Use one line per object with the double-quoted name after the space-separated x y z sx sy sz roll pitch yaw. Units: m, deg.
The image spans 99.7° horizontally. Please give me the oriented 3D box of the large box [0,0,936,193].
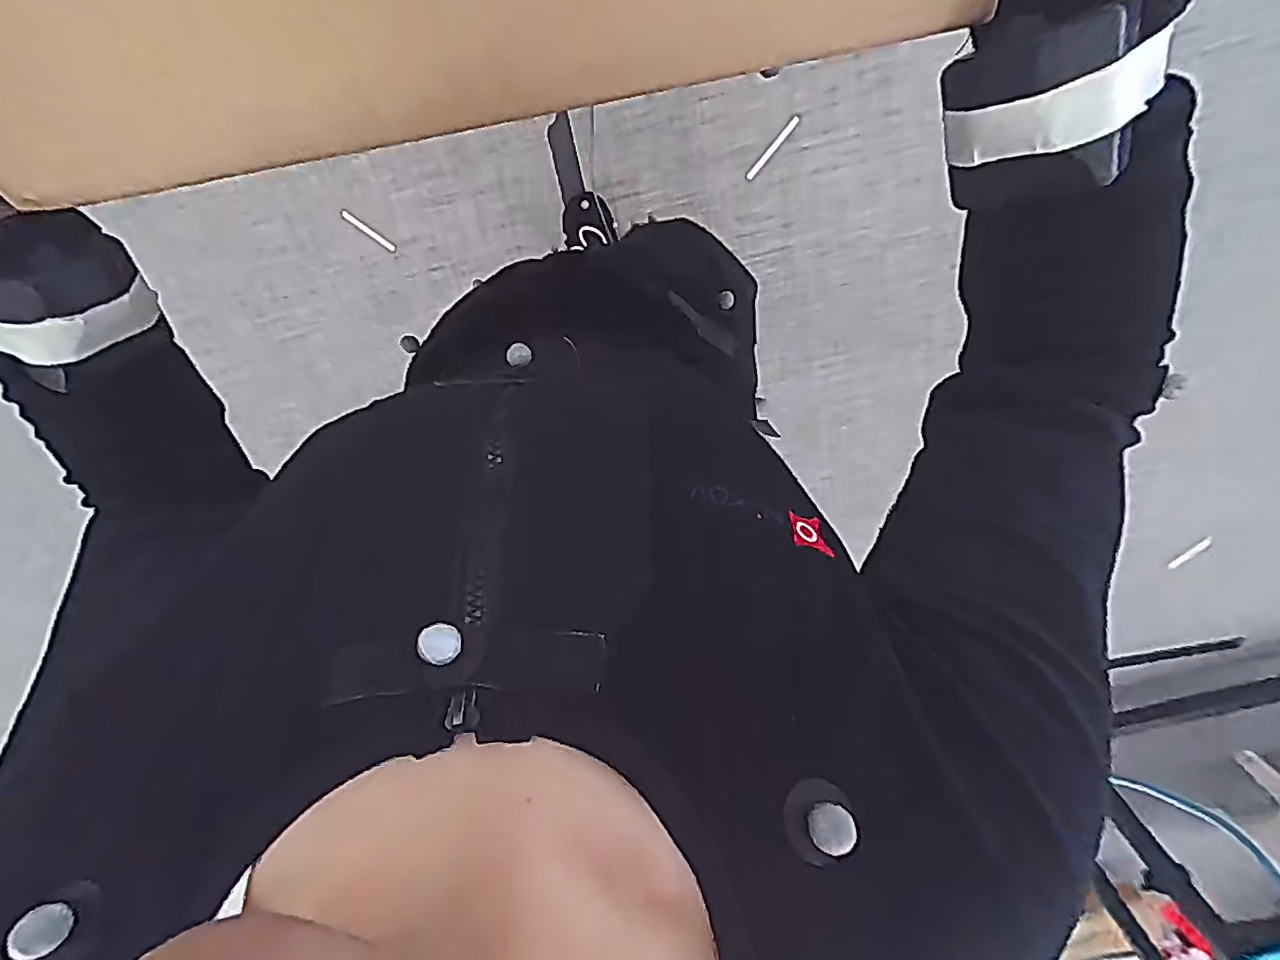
-0.100 -0.367 0.205 0.408 0.320 0.320 -9 139 4 "large box"
